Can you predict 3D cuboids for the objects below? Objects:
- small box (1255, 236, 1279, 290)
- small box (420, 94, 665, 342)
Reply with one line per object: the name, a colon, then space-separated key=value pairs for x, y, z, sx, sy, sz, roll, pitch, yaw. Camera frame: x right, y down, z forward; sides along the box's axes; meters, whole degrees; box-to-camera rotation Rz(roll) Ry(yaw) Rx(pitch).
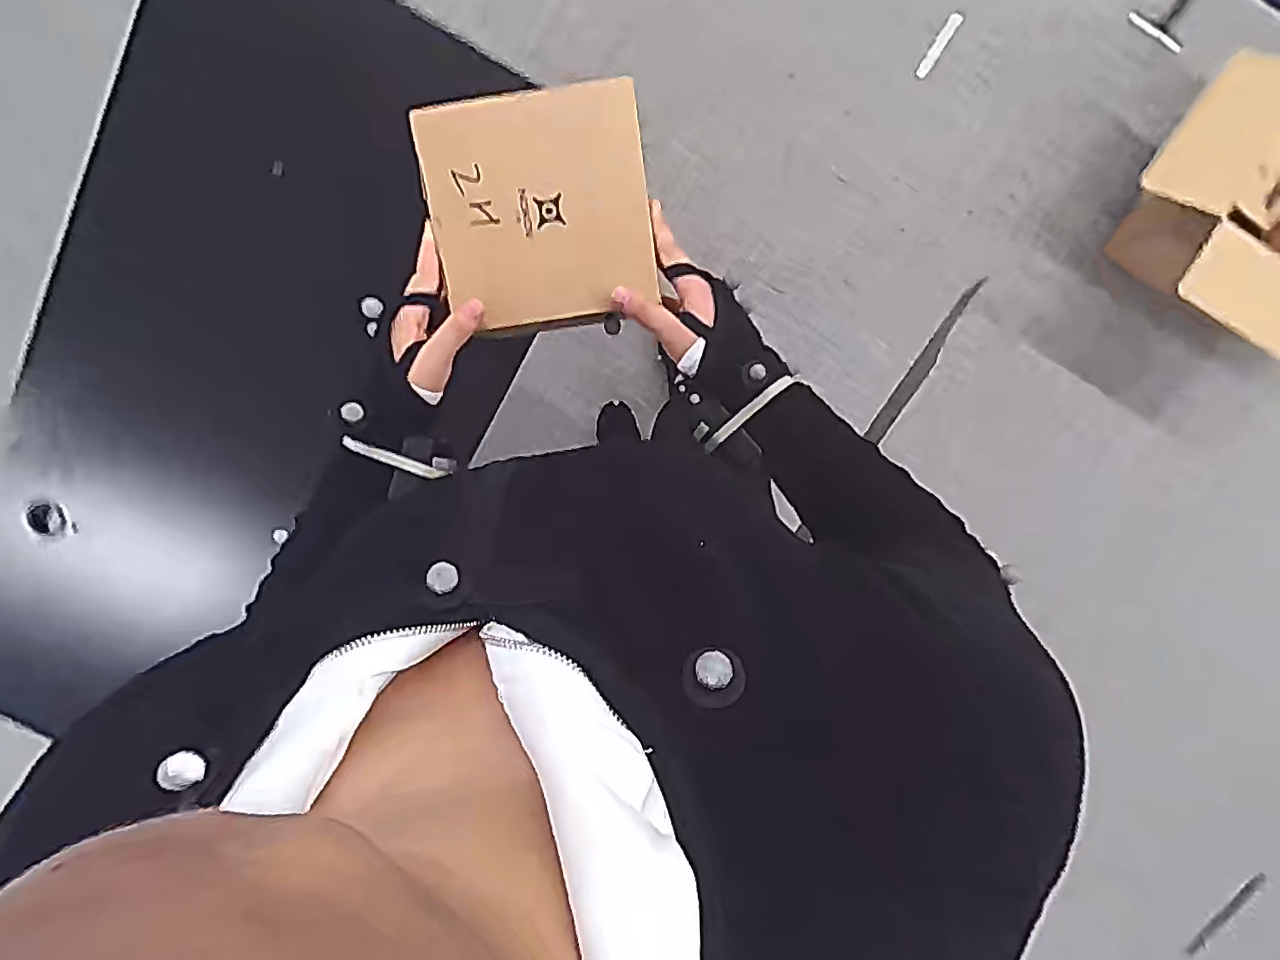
small box: x=1.451 y=-0.470 z=1.104 sx=0.179 sy=0.176 sz=0.168 roll=27 pitch=99 yaw=-7
small box: x=-0.074 y=-0.224 z=0.507 sx=0.179 sy=0.176 sz=0.168 roll=-7 pitch=102 yaw=3
